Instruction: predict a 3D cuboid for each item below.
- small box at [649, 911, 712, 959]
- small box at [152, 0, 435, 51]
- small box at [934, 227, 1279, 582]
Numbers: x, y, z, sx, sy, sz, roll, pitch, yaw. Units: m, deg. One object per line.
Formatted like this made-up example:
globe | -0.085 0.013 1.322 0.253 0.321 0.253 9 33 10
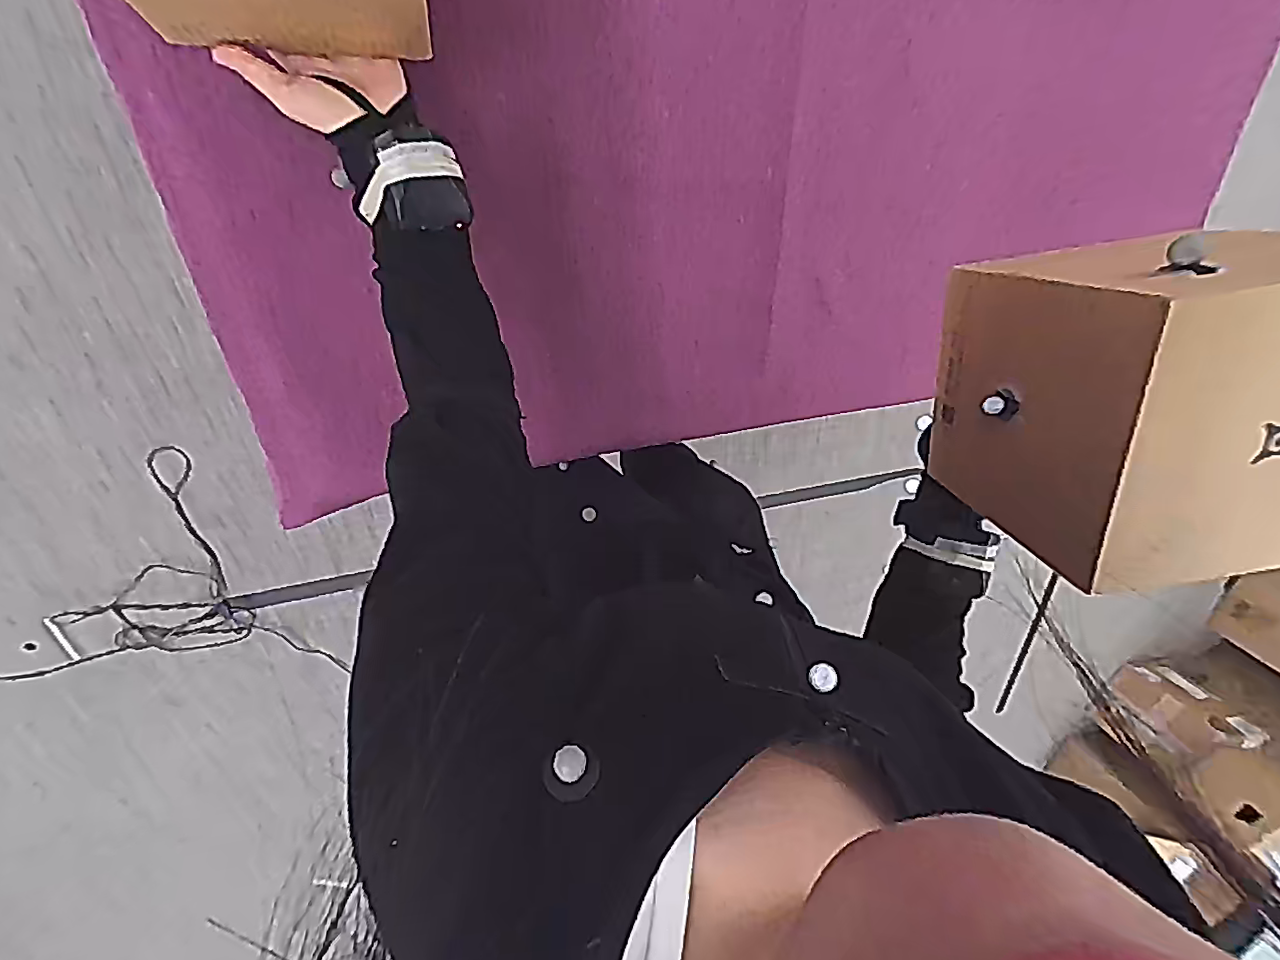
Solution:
small box | 0.134 1.612 1.842 0.168 0.176 0.179 -6 119 -15
small box | -0.221 -0.374 0.300 0.179 0.176 0.168 -9 107 -16
small box | 0.320 -0.061 0.346 0.179 0.176 0.168 -9 117 -1
